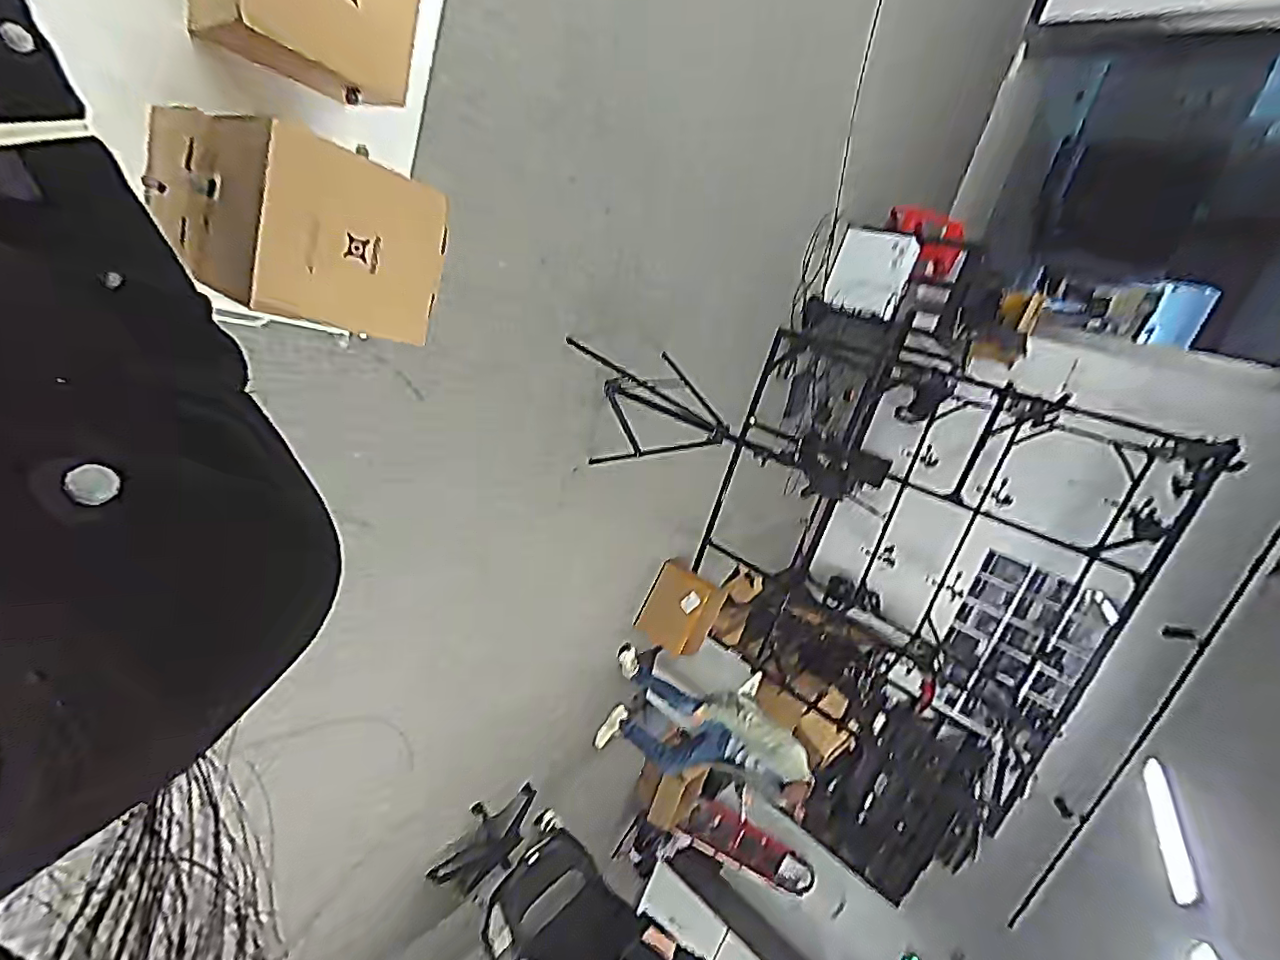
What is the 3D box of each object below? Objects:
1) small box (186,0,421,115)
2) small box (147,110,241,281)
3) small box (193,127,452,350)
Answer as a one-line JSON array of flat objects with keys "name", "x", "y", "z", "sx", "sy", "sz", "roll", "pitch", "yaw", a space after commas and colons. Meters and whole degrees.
[{"name": "small box", "x": -0.378, "y": -0.549, "z": 0.615, "sx": 0.179, "sy": 0.176, "sz": 0.168, "roll": -5, "pitch": 116, "yaw": -52}, {"name": "small box", "x": -0.468, "y": -0.314, "z": 0.659, "sx": 0.179, "sy": 0.176, "sz": 0.168, "roll": 1, "pitch": 111, "yaw": -53}, {"name": "small box", "x": -0.338, "y": -0.252, "z": 0.579, "sx": 0.179, "sy": 0.176, "sz": 0.168, "roll": -2, "pitch": 112, "yaw": -54}]
